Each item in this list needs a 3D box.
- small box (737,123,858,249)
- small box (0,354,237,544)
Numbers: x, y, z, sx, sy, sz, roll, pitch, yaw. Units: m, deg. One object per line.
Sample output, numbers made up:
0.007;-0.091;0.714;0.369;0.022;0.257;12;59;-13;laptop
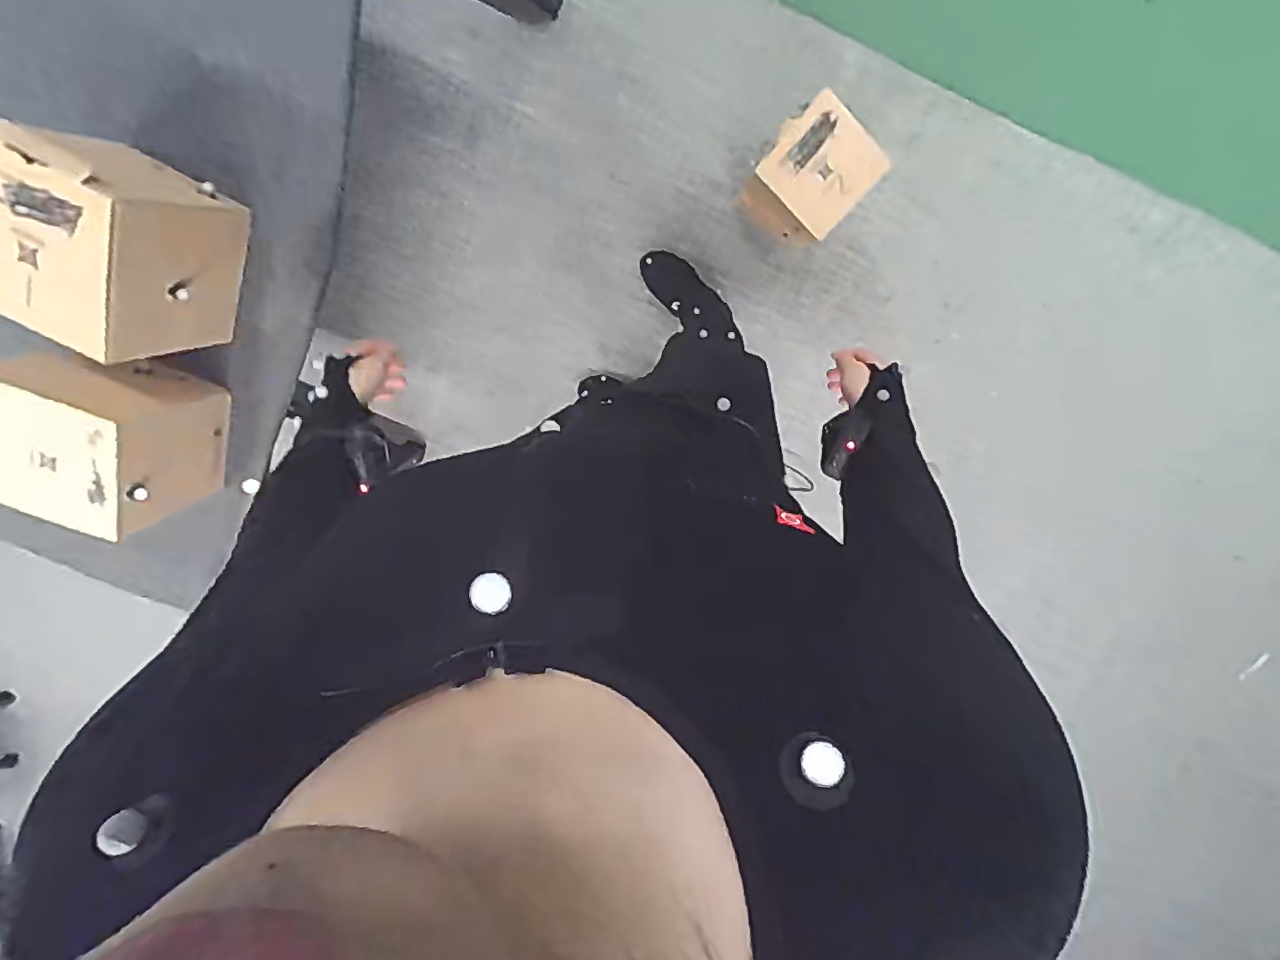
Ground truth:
0.327;-0.620;1.160;0.179;0.176;0.168;31;112;-8;small box
-0.672;-0.051;0.694;0.179;0.176;0.168;22;113;-4;small box
